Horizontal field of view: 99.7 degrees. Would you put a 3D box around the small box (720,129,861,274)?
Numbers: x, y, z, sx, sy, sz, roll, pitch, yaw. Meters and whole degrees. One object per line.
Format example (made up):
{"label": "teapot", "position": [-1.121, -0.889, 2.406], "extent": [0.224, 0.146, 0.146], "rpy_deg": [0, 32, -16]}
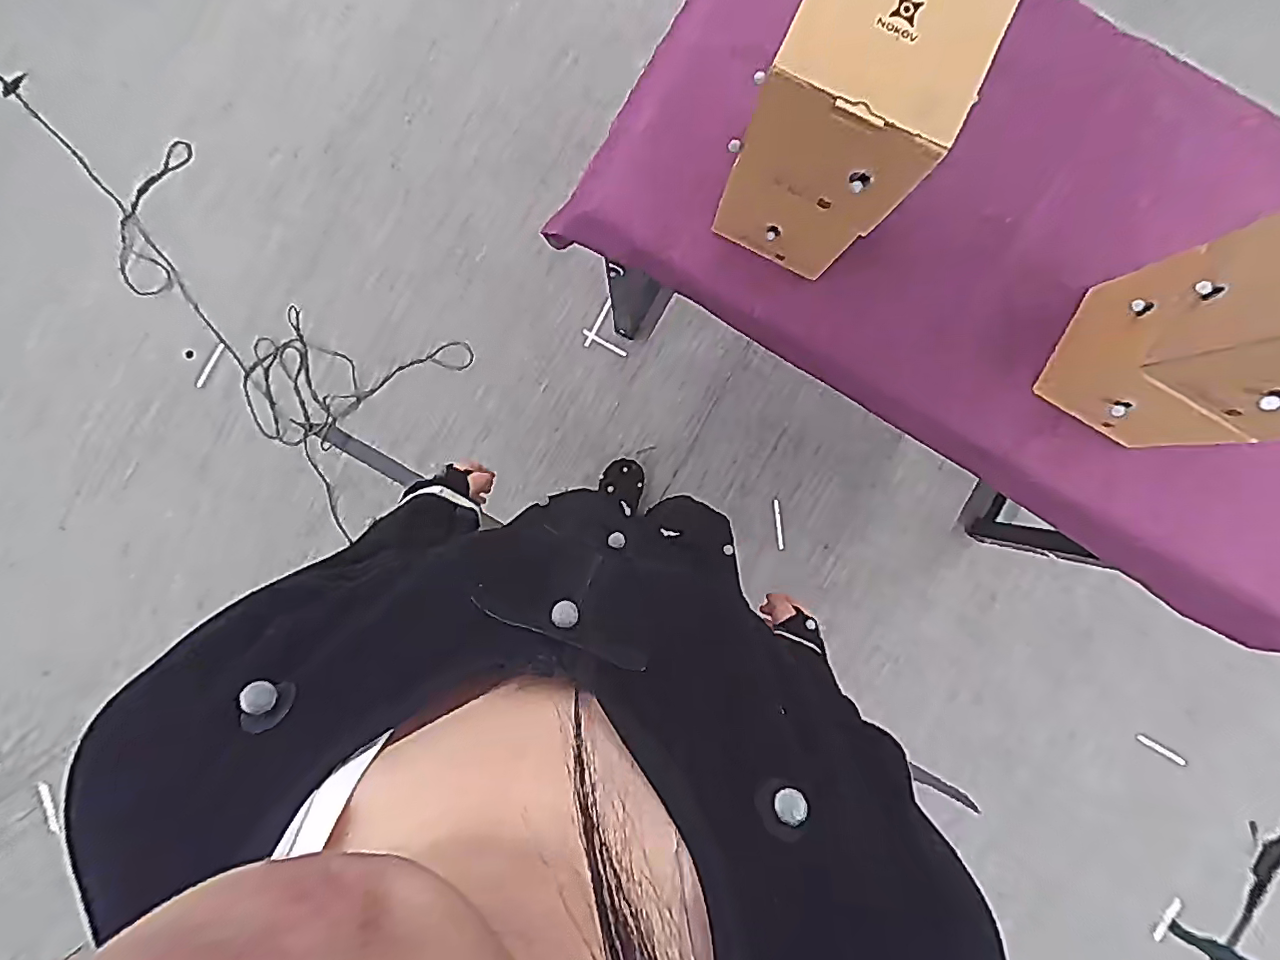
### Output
{"label": "small box", "position": [0.214, -0.394, 0.688], "extent": [0.168, 0.176, 0.179], "rpy_deg": [26, 90, -2]}

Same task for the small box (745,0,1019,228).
{"label": "small box", "position": [0.216, -0.384, 0.526], "extent": [0.168, 0.176, 0.179], "rpy_deg": [24, 90, -2]}

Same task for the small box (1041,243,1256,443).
{"label": "small box", "position": [0.678, -0.160, 0.704], "extent": [0.168, 0.176, 0.179], "rpy_deg": [30, 90, -1]}

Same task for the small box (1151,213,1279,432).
{"label": "small box", "position": [0.683, -0.161, 0.540], "extent": [0.168, 0.176, 0.179], "rpy_deg": [31, 91, -1]}
